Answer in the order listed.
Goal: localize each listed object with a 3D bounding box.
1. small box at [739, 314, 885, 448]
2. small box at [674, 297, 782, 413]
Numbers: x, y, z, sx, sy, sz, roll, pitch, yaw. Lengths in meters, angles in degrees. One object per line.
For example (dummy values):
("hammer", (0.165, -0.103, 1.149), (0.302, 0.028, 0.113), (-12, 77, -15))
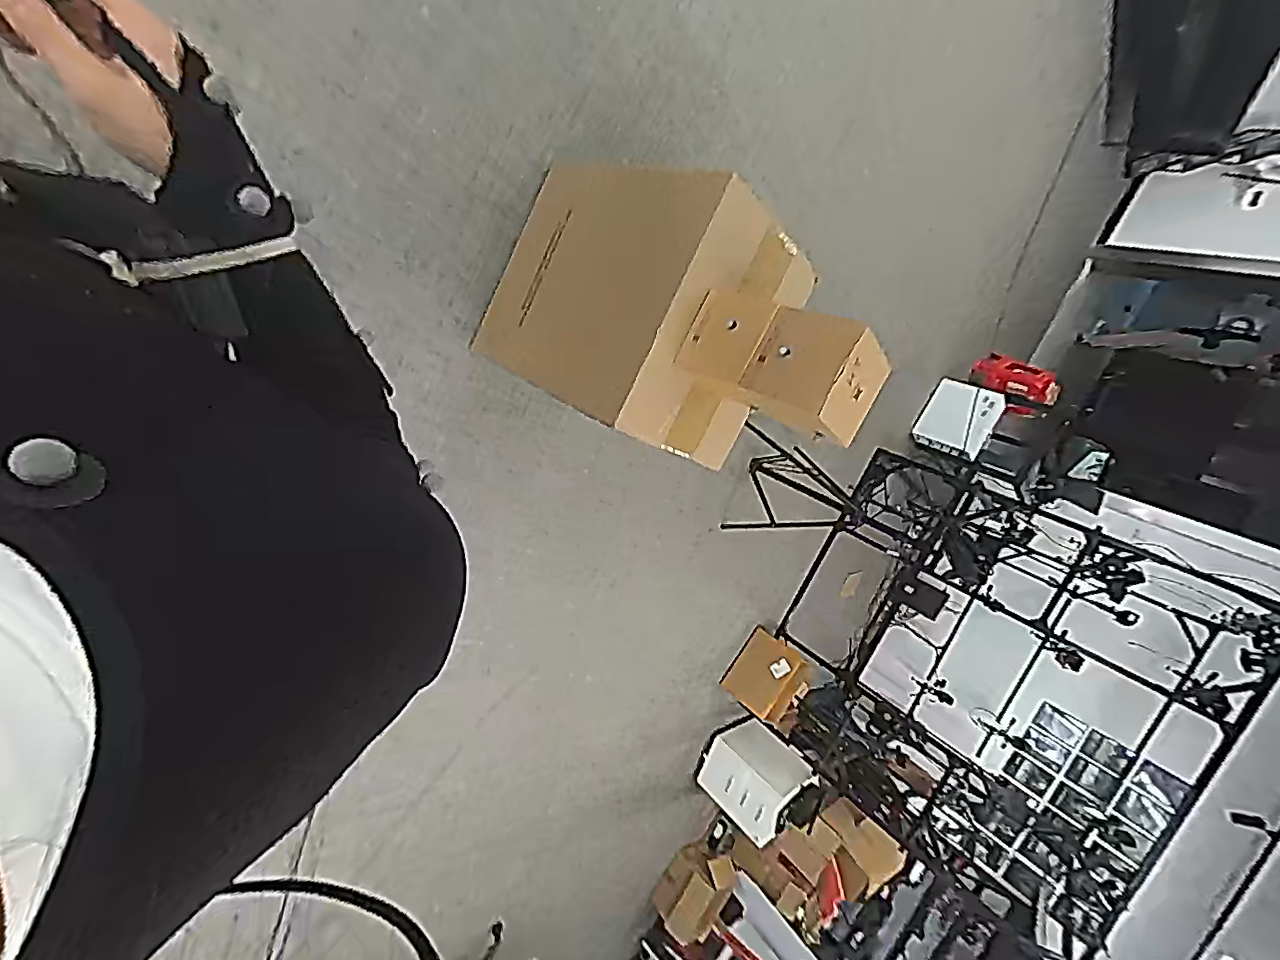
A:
("small box", (0.313, -0.184, 0.988), (0.179, 0.176, 0.168), (26, 92, -51))
("small box", (0.199, -0.251, 1.087), (0.179, 0.176, 0.168), (22, 96, -51))
